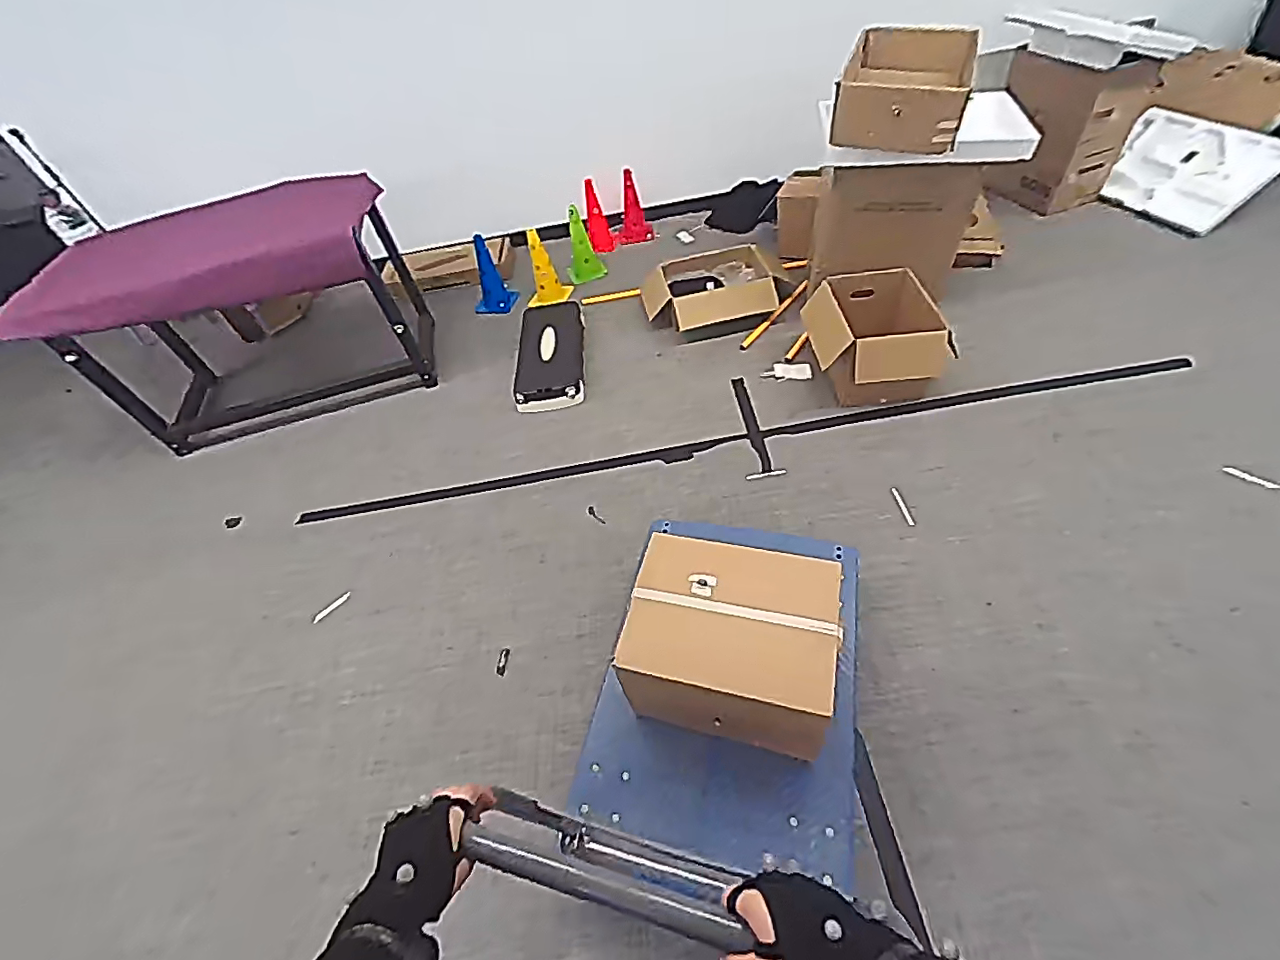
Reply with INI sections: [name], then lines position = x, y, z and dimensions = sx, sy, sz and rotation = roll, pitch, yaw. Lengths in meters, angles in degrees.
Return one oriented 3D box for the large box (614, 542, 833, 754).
[large box]
position = 0.199, 0.368, 1.197
dimensions = 0.408, 0.320, 0.320
rotation = 6, 51, 16
